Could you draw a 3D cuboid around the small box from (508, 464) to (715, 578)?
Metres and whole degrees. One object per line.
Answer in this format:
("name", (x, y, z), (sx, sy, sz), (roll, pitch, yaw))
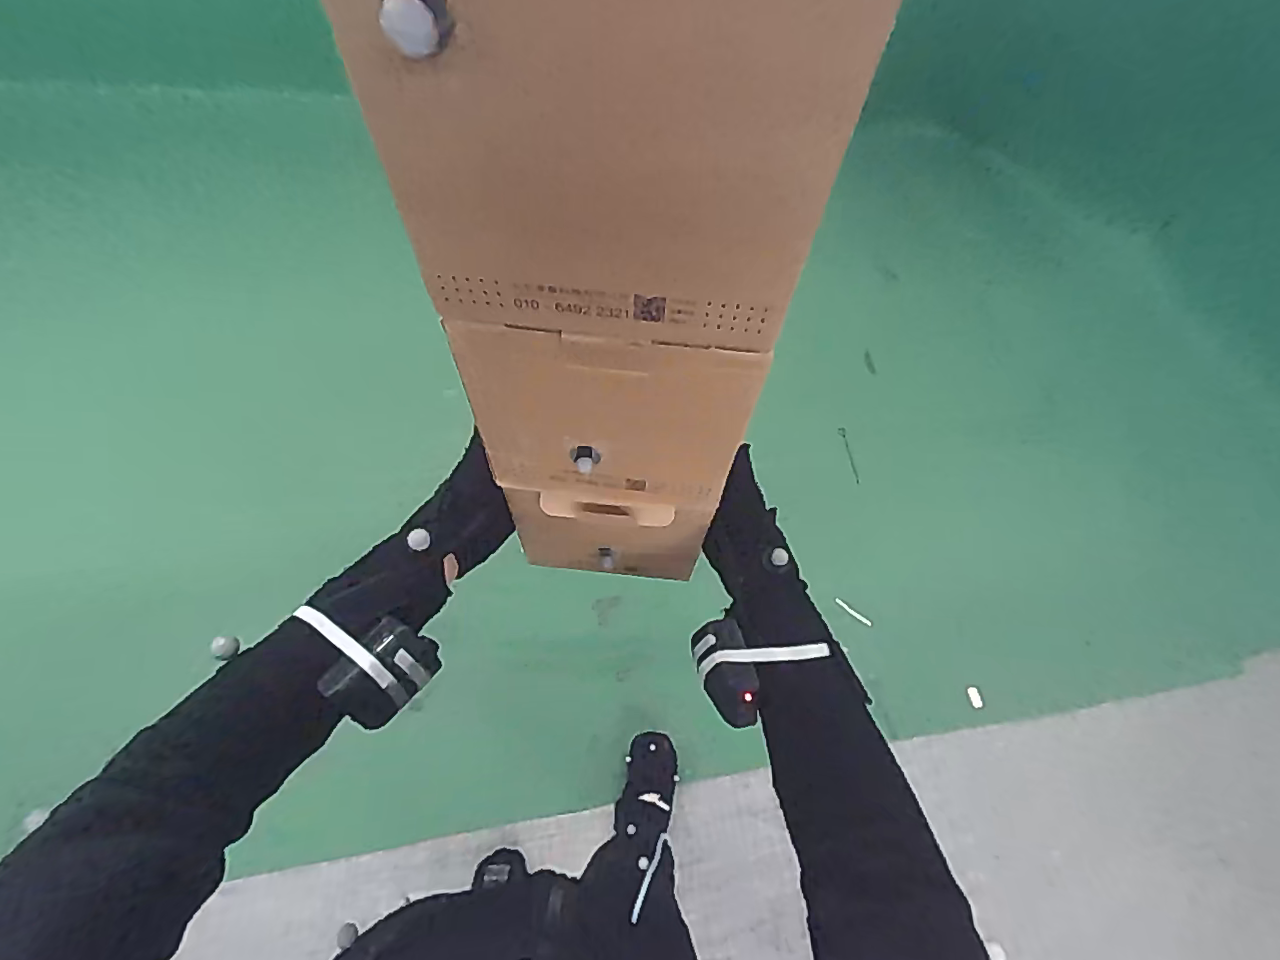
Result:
("small box", (-0.020, -0.022, 0.530), (0.168, 0.176, 0.179), (7, 60, 0))

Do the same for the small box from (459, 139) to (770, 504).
("small box", (-0.011, -0.104, 0.388), (0.168, 0.176, 0.179), (6, 60, 0))
